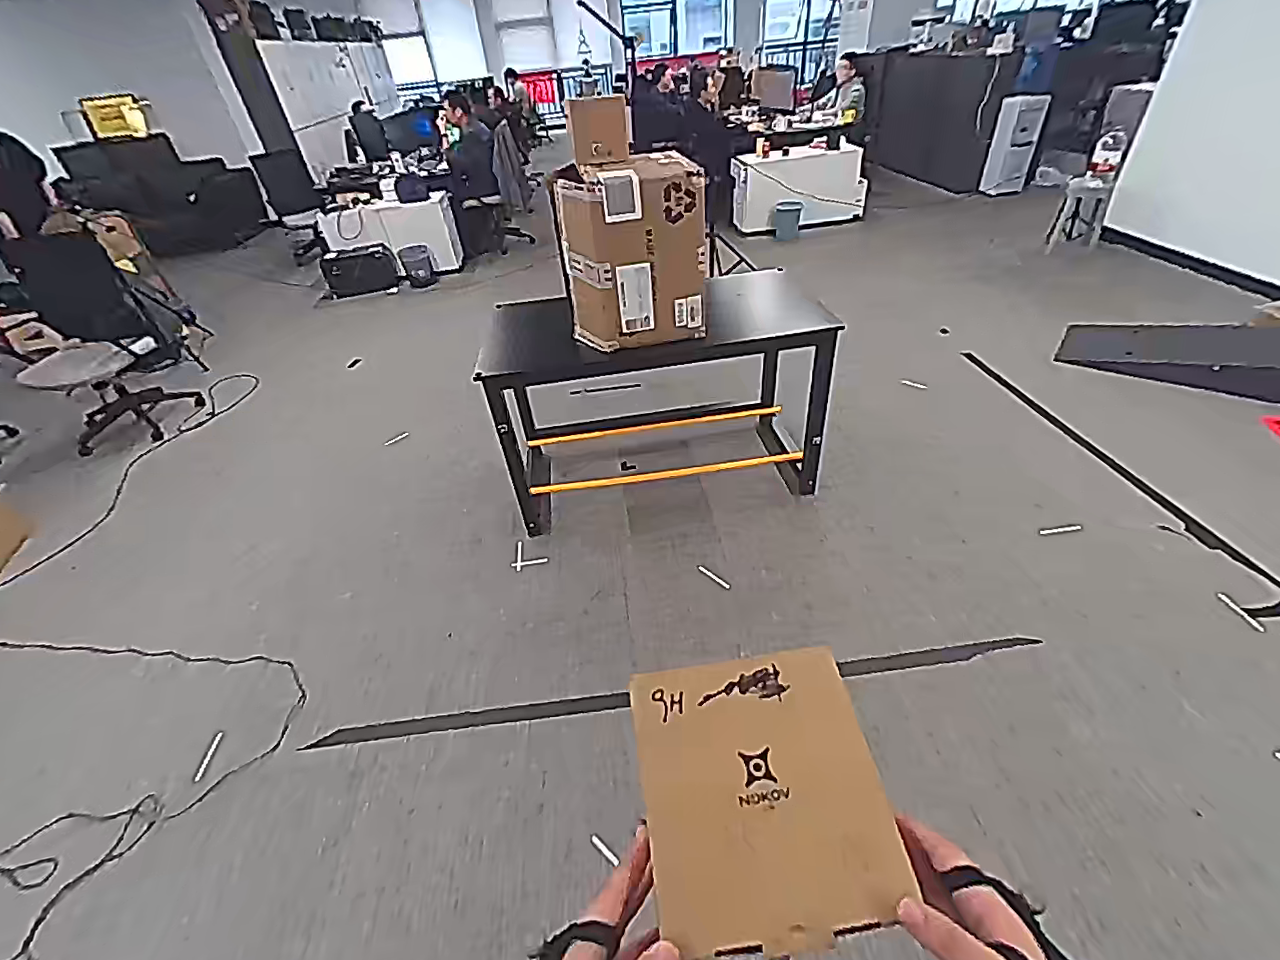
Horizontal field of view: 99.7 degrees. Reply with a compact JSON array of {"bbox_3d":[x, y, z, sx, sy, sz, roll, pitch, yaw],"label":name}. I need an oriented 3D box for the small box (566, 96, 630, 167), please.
[{"bbox_3d":[-0.130,-1.065,1.654,0.168,0.176,0.179,-11,37,-7],"label":"small box"}]
